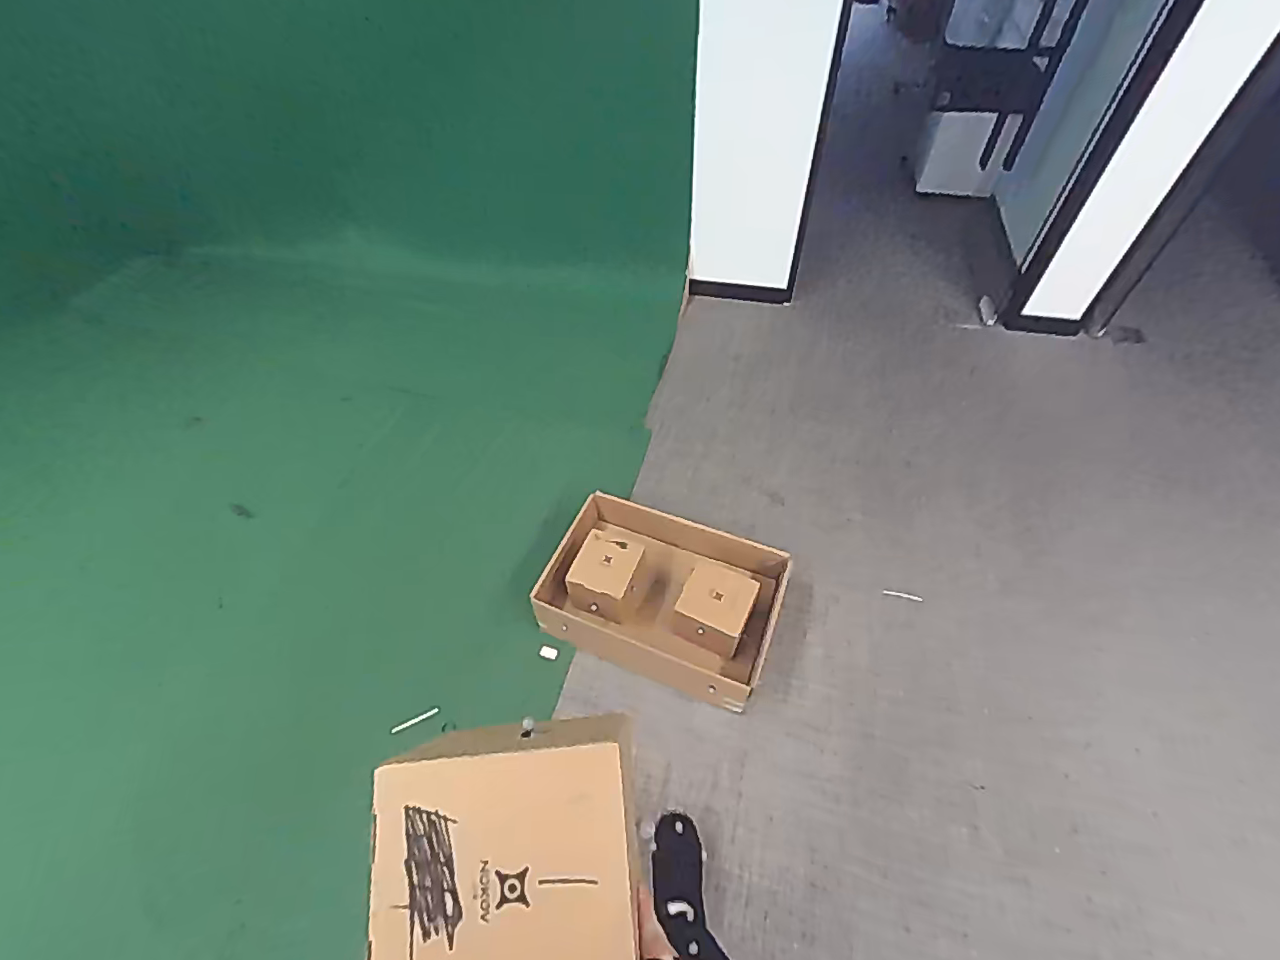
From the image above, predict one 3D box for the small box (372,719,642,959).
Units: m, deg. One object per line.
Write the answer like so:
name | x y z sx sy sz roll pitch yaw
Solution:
small box | -0.091 0.298 0.440 0.179 0.176 0.168 -5 72 -2
